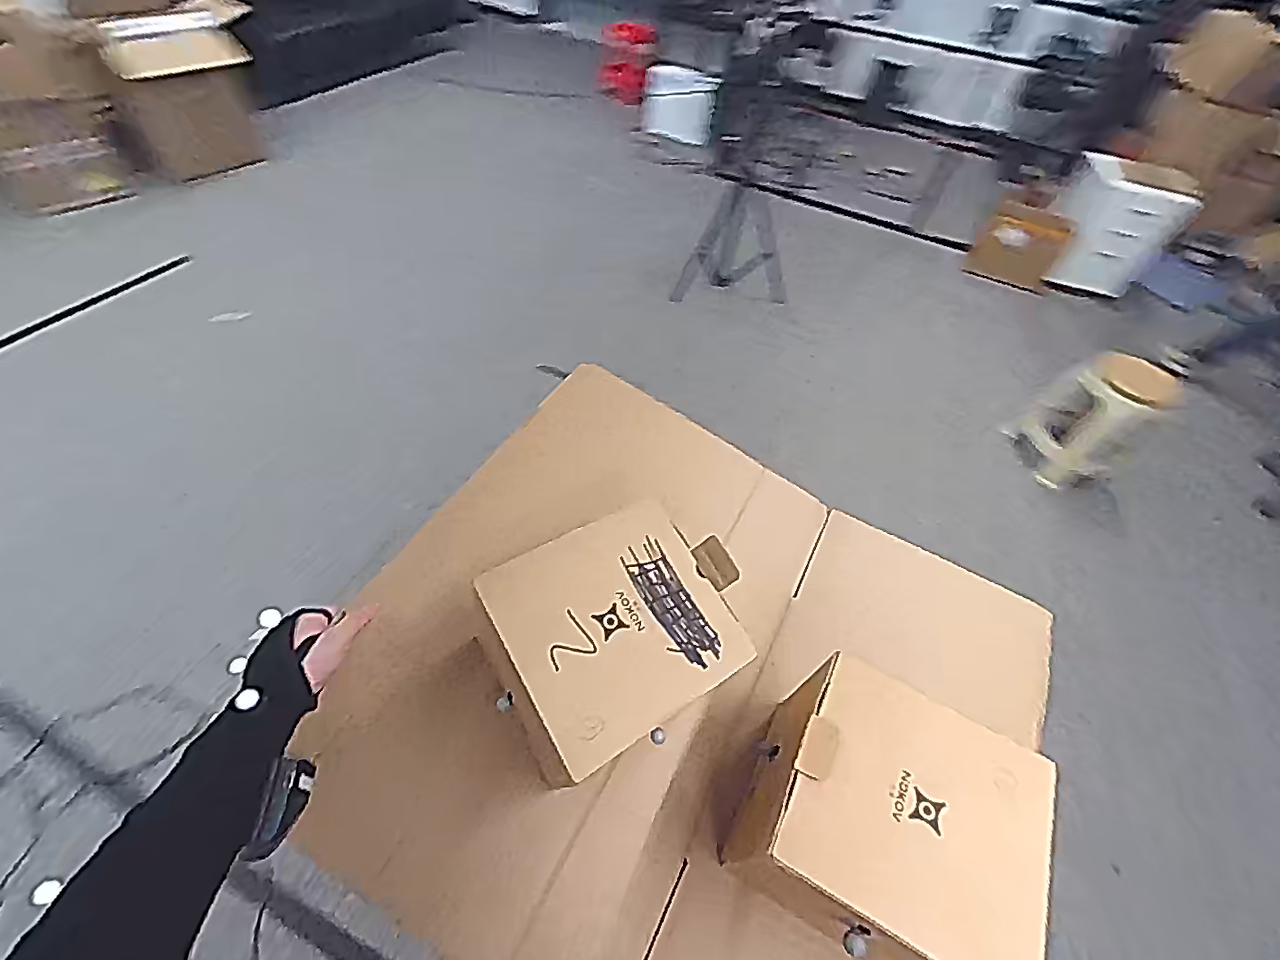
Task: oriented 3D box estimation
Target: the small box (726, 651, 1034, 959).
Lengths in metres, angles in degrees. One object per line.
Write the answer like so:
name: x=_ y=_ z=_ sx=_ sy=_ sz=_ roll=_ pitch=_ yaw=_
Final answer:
small box: x=0.195 y=0.284 z=0.470 sx=0.179 sy=0.176 sz=0.168 roll=25 pitch=55 yaw=13
